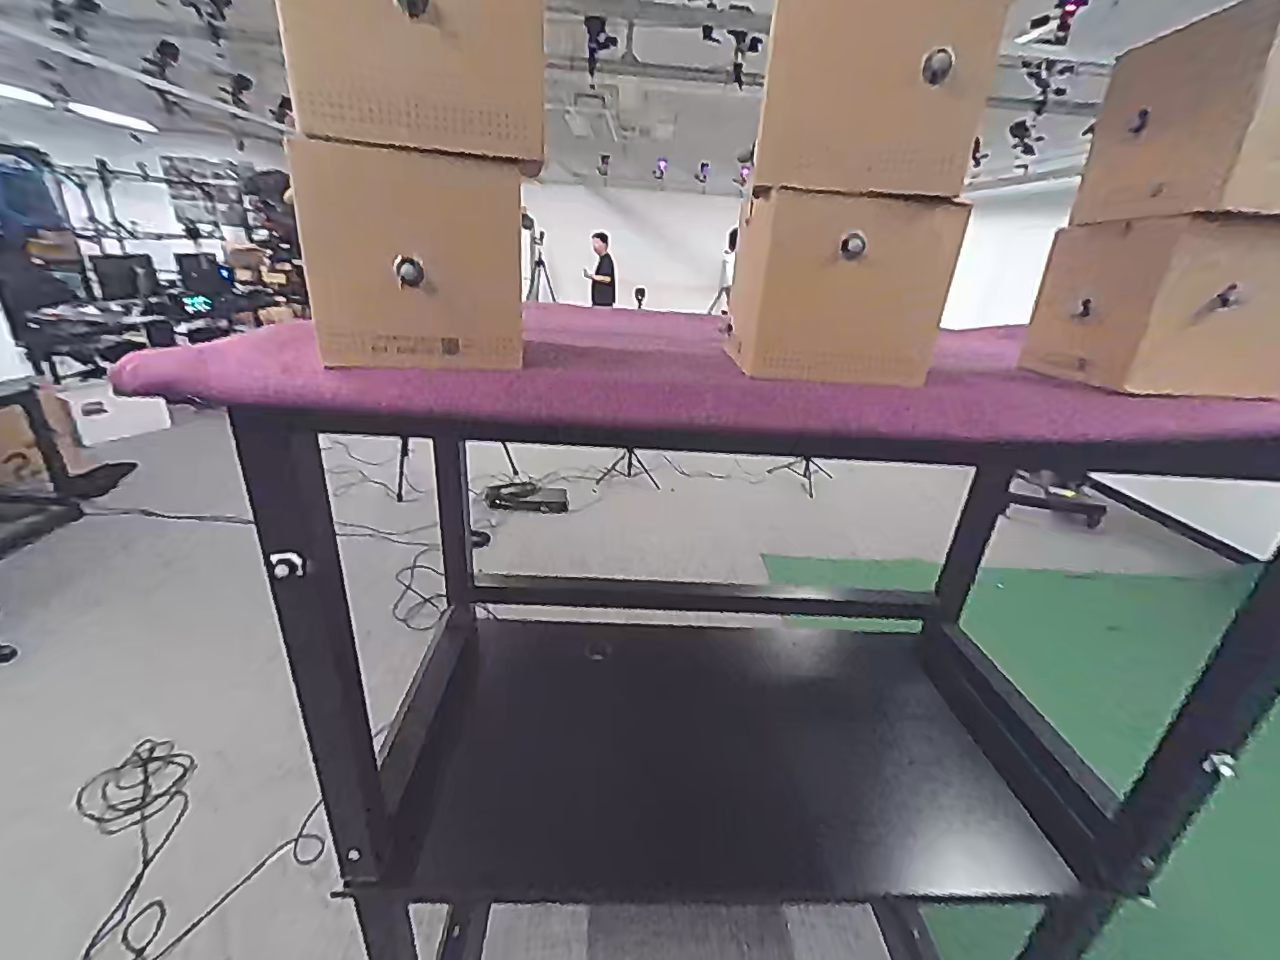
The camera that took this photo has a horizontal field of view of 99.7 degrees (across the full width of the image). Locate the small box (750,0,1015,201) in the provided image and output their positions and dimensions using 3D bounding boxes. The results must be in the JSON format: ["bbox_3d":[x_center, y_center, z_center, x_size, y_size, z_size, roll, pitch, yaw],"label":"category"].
[{"bbox_3d":[0.203,-0.348,0.503,0.179,0.176,0.168,6,23,7],"label":"small box"}]

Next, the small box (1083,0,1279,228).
[{"bbox_3d":[0.583,-0.333,0.526,0.179,0.176,0.168,2,21,-2],"label":"small box"}]

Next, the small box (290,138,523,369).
[{"bbox_3d":[-0.197,-0.205,0.510,0.168,0.176,0.179,-1,25,-15],"label":"small box"}]

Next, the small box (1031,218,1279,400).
[{"bbox_3d":[0.575,-0.186,0.597,0.179,0.176,0.168,1,22,-2],"label":"small box"}]

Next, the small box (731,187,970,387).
[{"bbox_3d":[0.196,-0.199,0.569,0.179,0.176,0.168,4,24,-2],"label":"small box"}]
